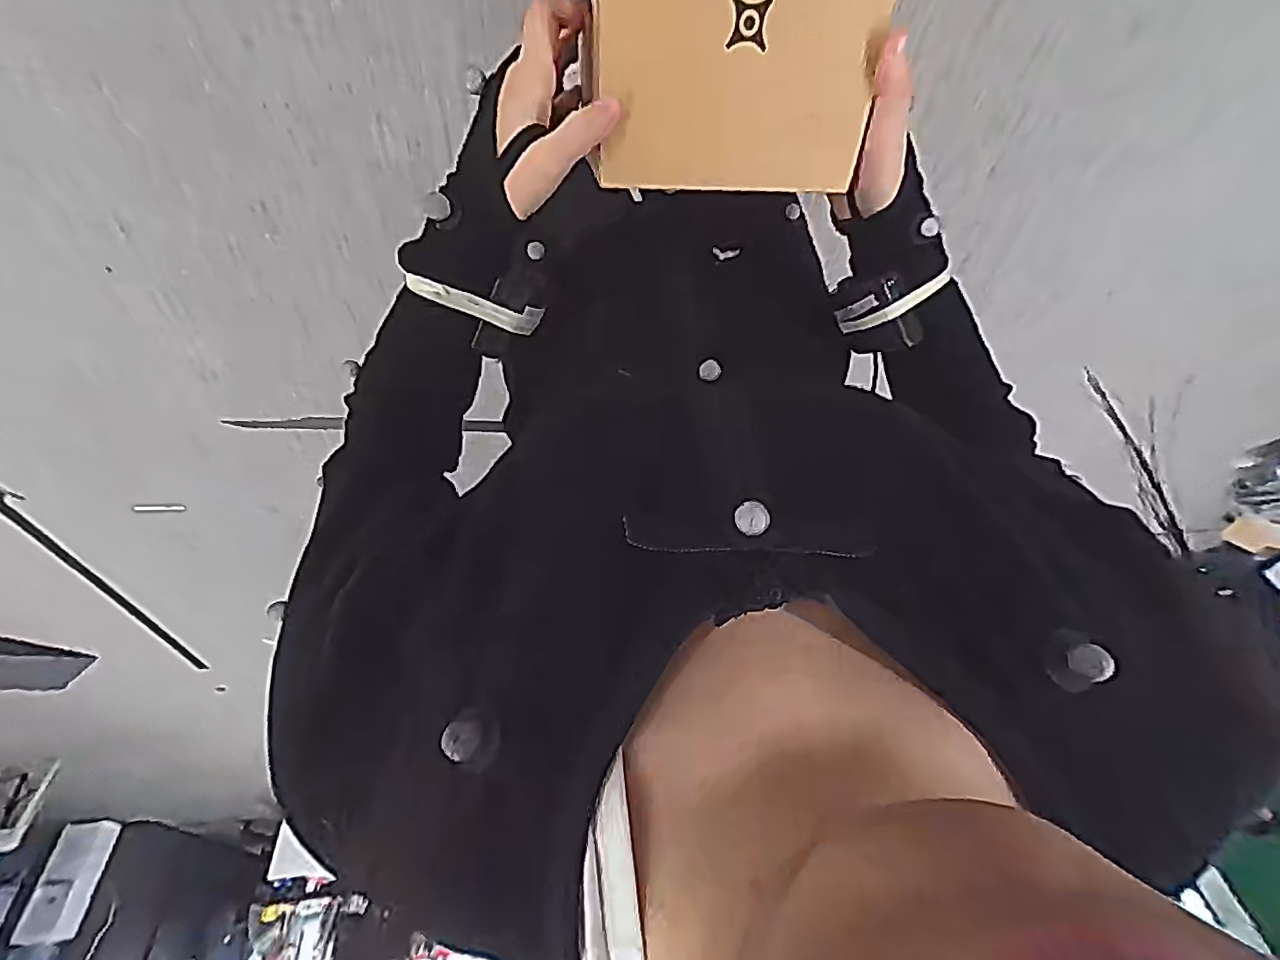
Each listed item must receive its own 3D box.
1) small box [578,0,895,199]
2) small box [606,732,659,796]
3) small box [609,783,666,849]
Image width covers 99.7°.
[{"bbox_3d":[0.048,-0.301,0.357,0.168,0.176,0.179,-4,128,-9],"label":"small box"},{"bbox_3d":[-0.034,1.032,1.968,0.168,0.176,0.179,1,138,-11],"label":"small box"},{"bbox_3d":[-0.014,1.156,1.862,0.168,0.176,0.179,1,139,-12],"label":"small box"}]
